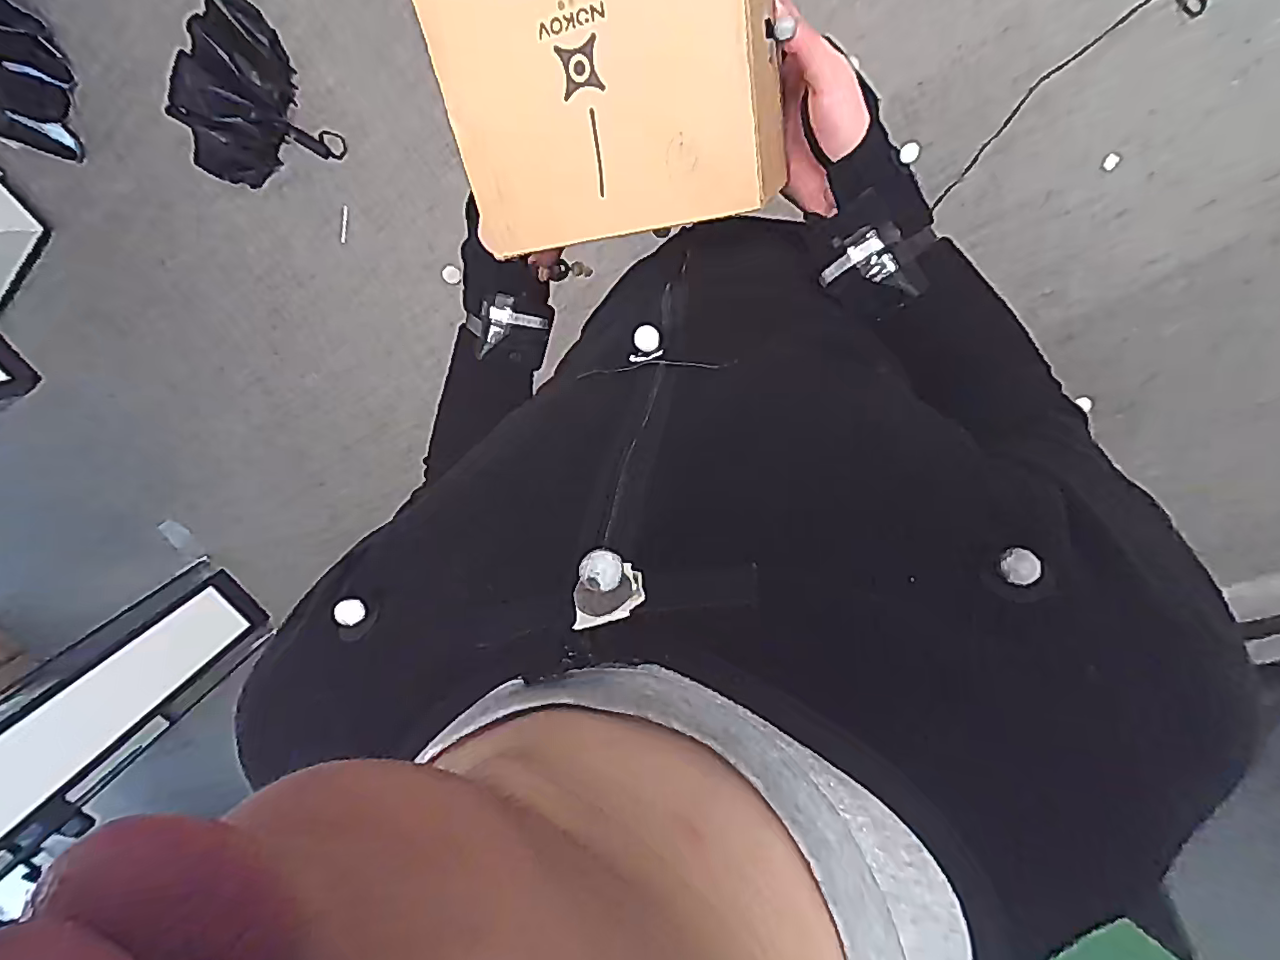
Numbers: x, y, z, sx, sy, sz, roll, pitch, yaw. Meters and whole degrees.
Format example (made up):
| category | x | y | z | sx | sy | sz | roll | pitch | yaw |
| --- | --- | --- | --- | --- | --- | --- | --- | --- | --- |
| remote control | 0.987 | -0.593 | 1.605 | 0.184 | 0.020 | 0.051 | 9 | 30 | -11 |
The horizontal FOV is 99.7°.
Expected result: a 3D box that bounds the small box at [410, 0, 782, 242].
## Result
| category | x | y | z | sx | sy | sz | roll | pitch | yaw |
| --- | --- | --- | --- | --- | --- | --- | --- | --- | --- |
| small box | -0.009 | -0.258 | 0.321 | 0.168 | 0.176 | 0.179 | 1 | 124 | 21 |
